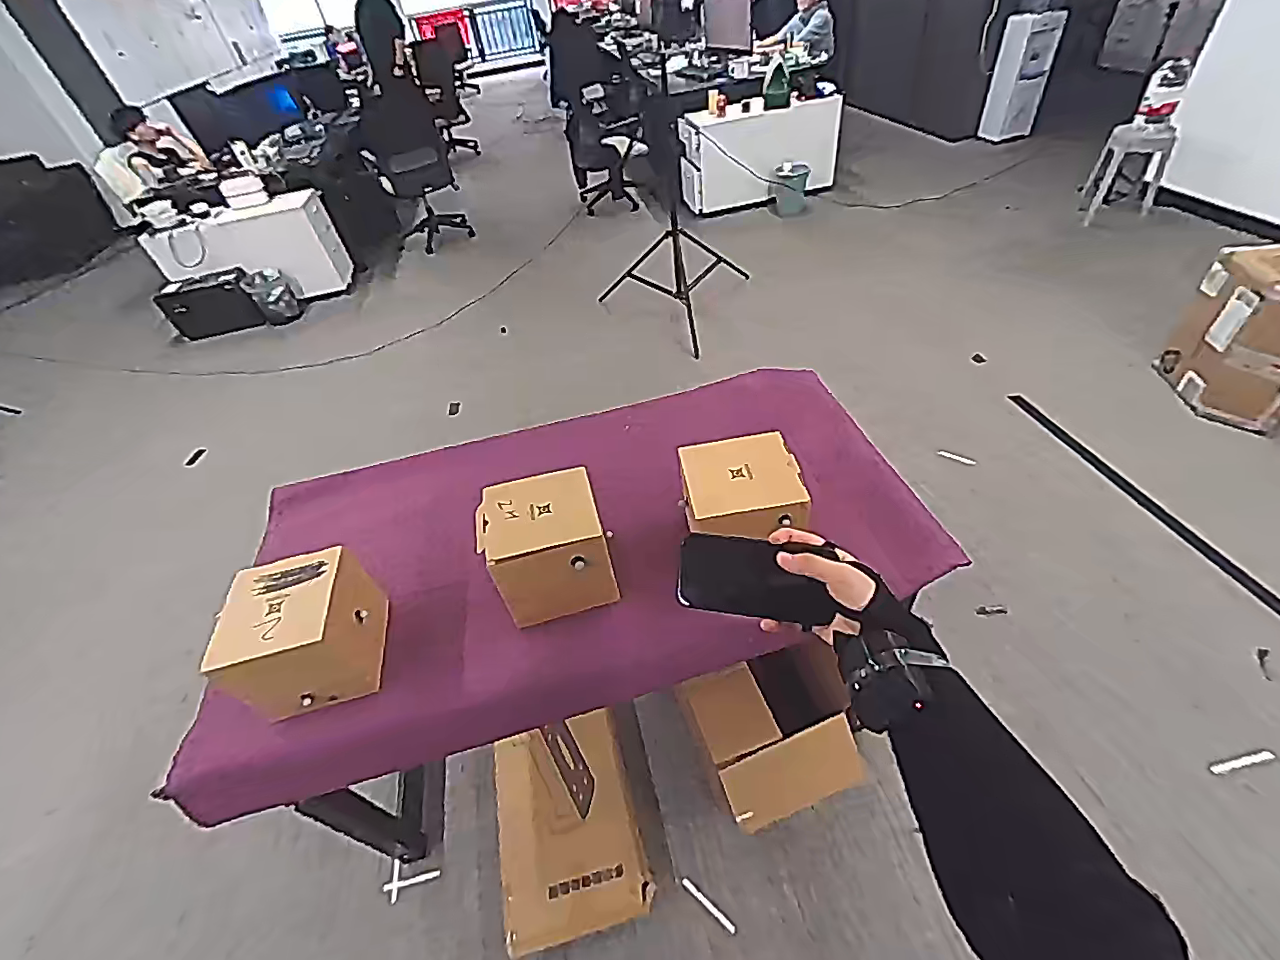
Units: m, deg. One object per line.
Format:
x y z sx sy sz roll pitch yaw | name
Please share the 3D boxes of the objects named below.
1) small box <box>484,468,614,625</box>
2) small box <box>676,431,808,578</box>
-0.146 0.110 0.895 0.179 0.176 0.168 -15 42 -5 | small box
0.166 0.044 0.906 0.179 0.176 0.168 -10 44 0 | small box
